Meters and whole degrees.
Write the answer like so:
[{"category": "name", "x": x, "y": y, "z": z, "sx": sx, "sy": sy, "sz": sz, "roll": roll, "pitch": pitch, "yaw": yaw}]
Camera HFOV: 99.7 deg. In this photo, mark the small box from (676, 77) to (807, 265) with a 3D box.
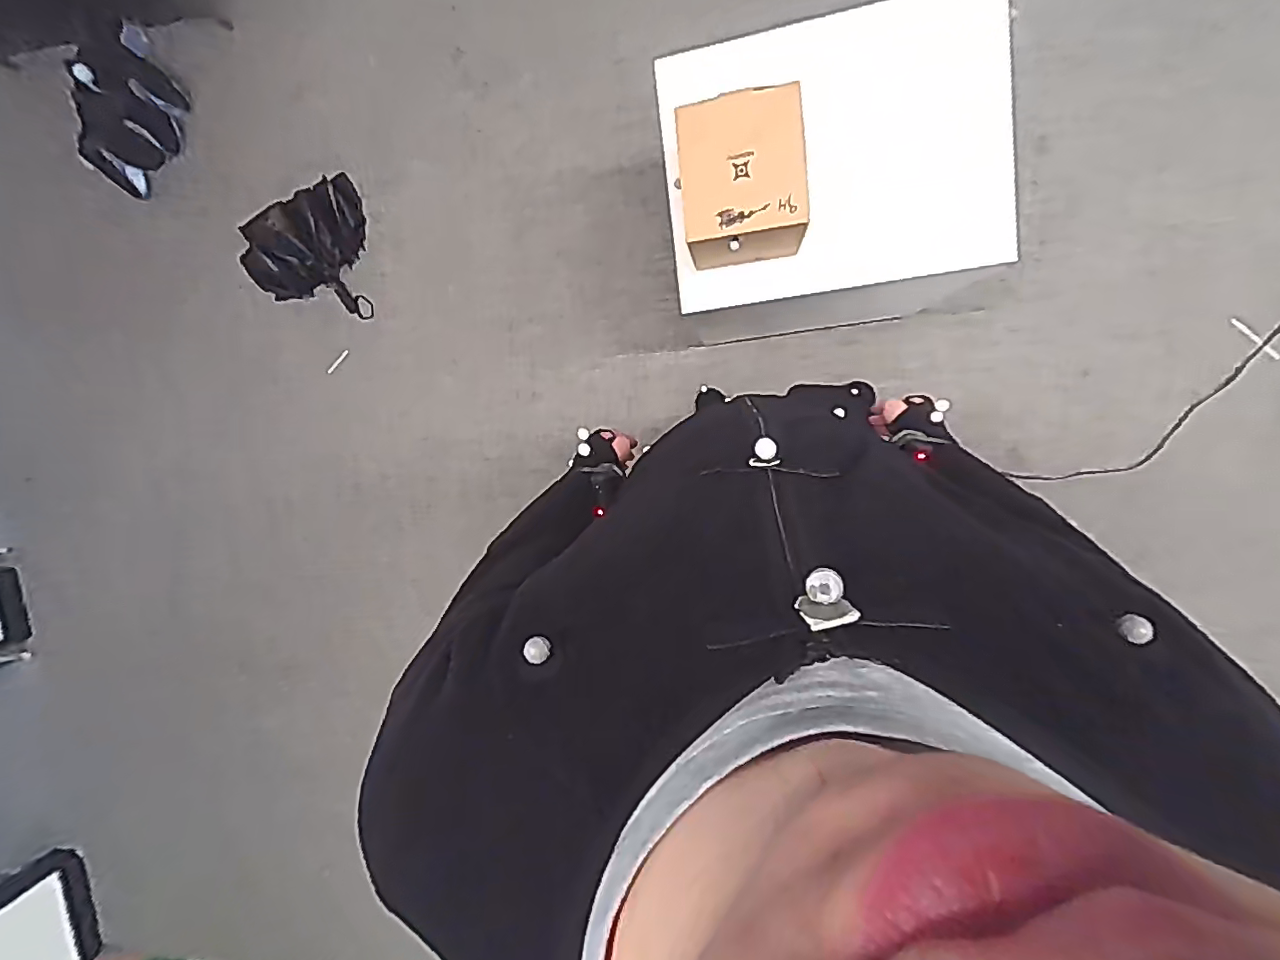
[{"category": "small box", "x": 0.146, "y": -0.432, "z": 0.786, "sx": 0.168, "sy": 0.176, "sz": 0.179, "roll": -4, "pitch": 97, "yaw": 11}]
